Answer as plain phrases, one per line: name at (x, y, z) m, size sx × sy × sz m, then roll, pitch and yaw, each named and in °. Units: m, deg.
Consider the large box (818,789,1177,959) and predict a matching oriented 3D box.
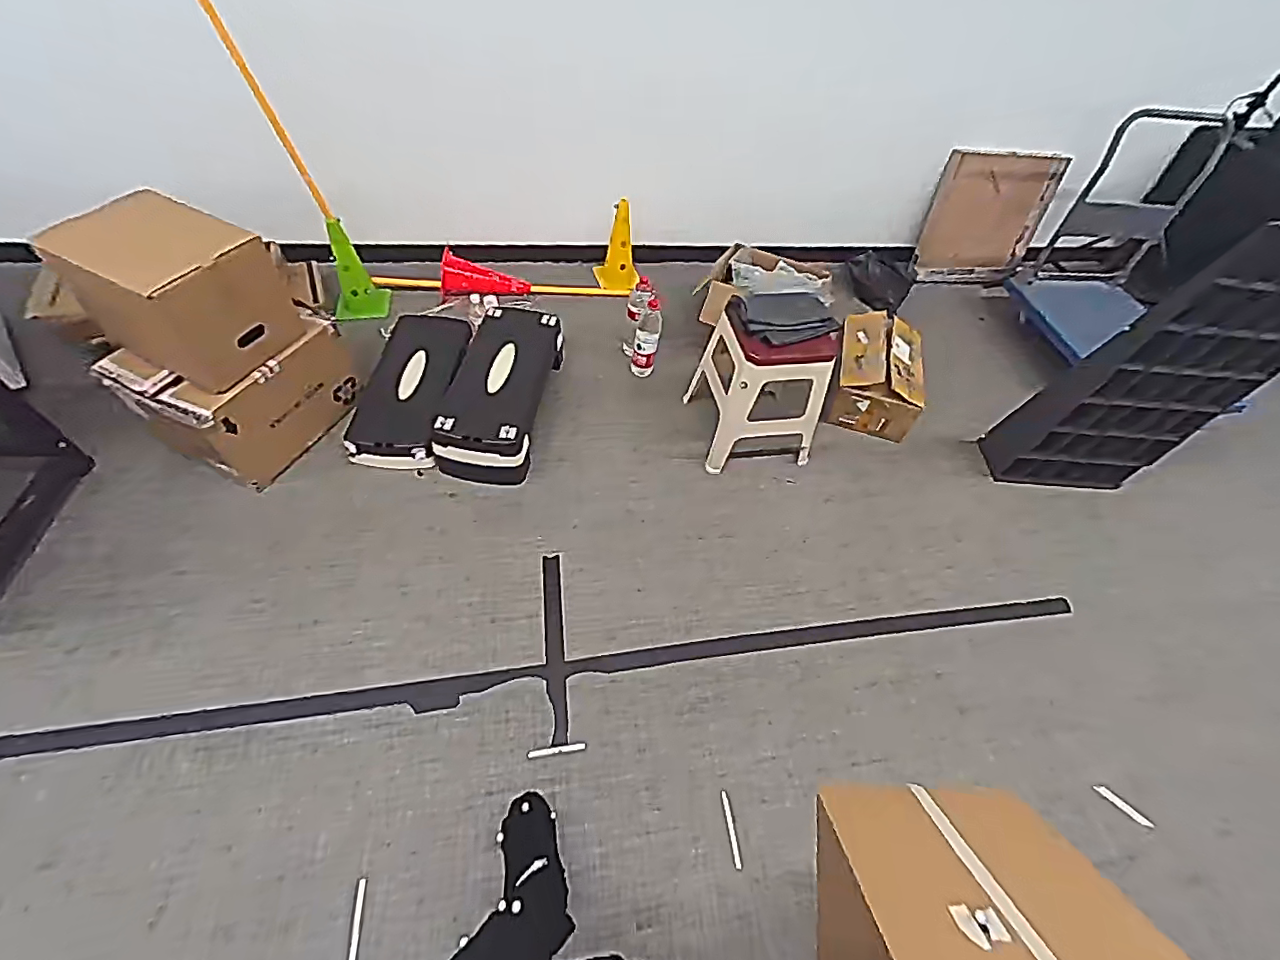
large box at (0.434, 0.663, 0.676) m, size 0.320 × 0.408 × 0.320 m, roll 0°, pitch 93°, yaw 4°
